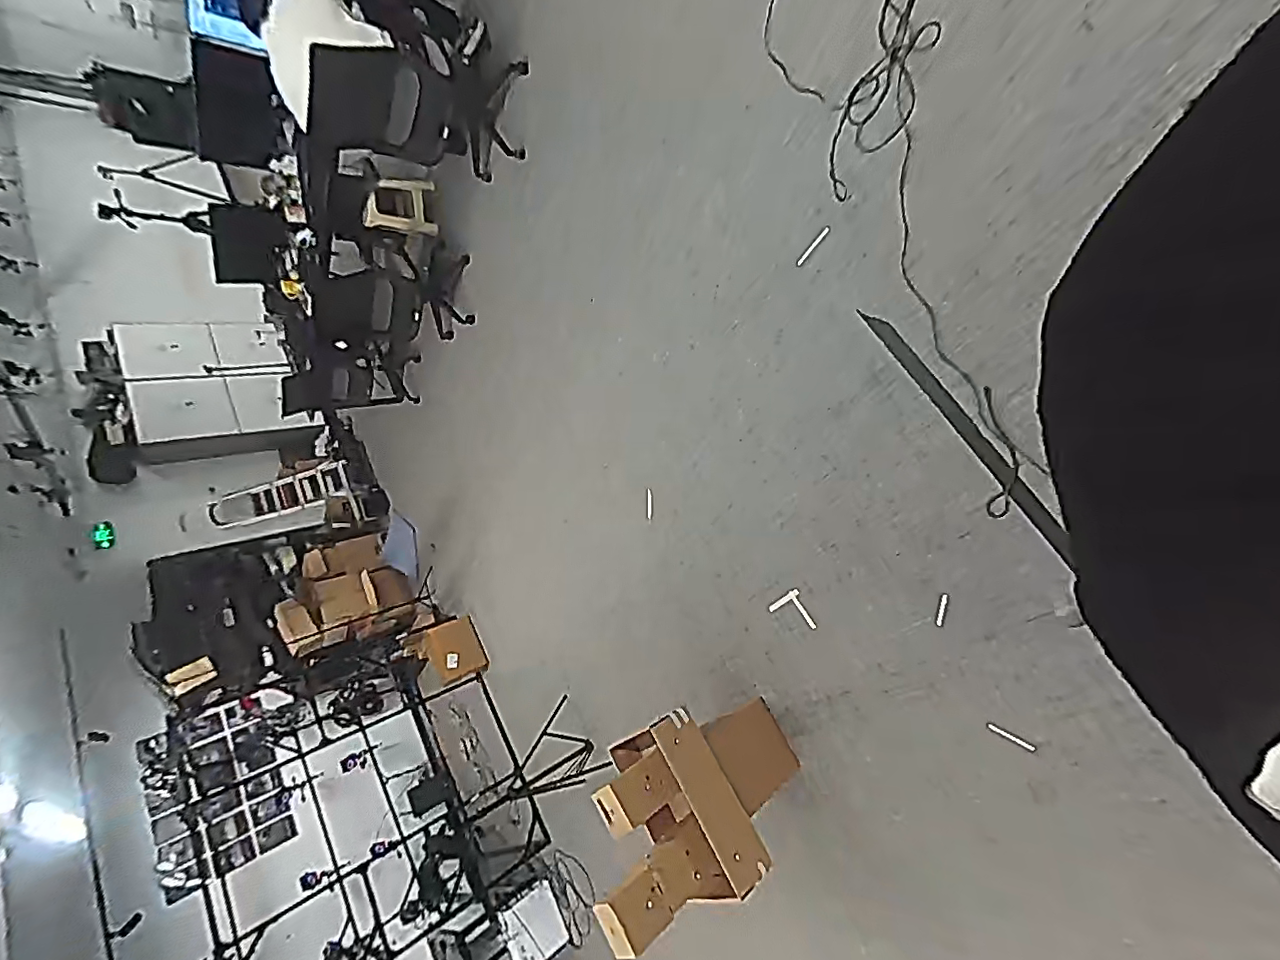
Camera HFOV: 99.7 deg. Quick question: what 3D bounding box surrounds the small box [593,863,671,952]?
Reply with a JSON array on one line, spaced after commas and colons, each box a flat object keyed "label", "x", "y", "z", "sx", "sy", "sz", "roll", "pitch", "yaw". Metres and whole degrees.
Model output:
[{"label": "small box", "x": -0.025, "y": 1.410, "z": 1.788, "sx": 0.168, "sy": 0.176, "sz": 0.179, "roll": 55, "pitch": 138, "yaw": 22}]

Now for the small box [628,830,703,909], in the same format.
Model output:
[{"label": "small box", "x": 0.095, "y": 1.361, "z": 1.891, "sx": 0.168, "sy": 0.176, "sz": 0.179, "roll": 56, "pitch": 139, "yaw": 21}]
